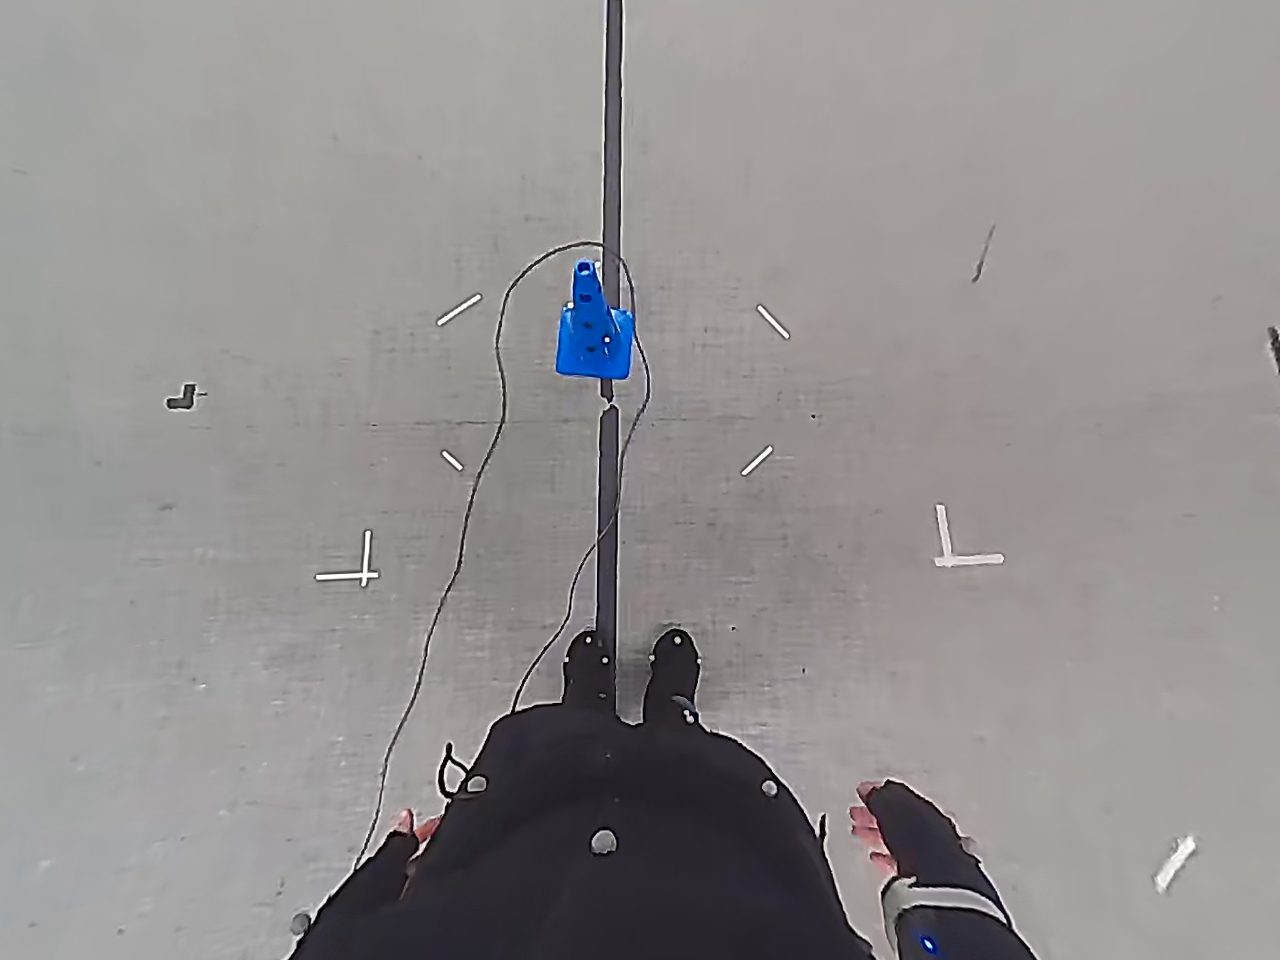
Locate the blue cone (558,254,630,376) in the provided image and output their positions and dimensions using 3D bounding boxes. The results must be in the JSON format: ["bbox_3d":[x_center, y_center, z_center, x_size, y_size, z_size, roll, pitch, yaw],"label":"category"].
[{"bbox_3d":[-0.122,-0.398,1.274,0.193,0.380,0.192,3,79,0],"label":"blue cone"}]
